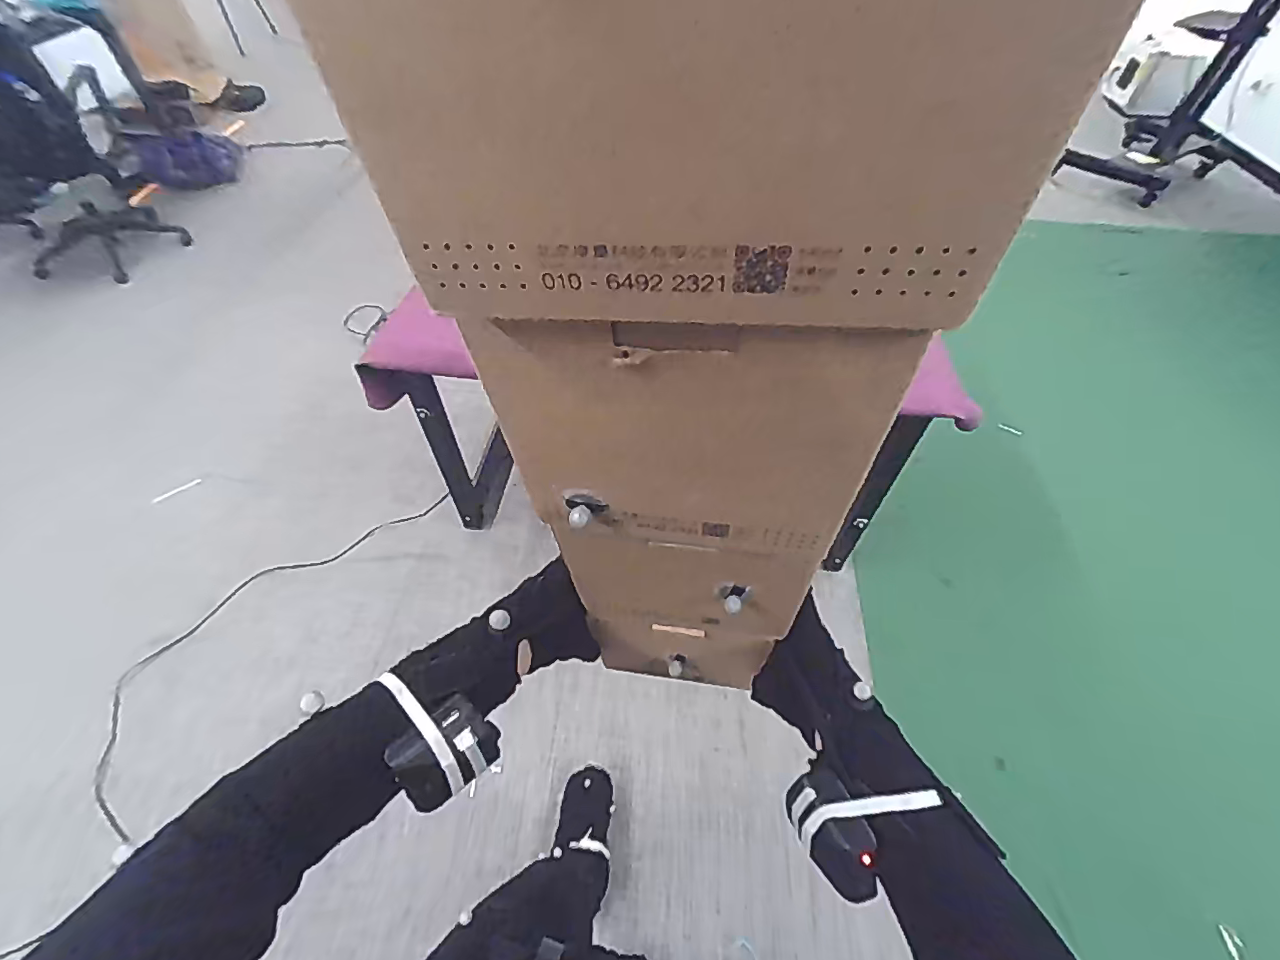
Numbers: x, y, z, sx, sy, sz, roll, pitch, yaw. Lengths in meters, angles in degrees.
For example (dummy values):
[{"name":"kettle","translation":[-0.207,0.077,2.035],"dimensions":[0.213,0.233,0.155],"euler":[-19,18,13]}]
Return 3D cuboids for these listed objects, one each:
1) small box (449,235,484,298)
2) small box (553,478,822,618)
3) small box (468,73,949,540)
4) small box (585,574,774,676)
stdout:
[{"name":"small box","translation":[-0.316,-0.523,1.224],"dimensions":[0.168,0.176,0.179],"euler":[3,53,0]},{"name":"small box","translation":[0.047,-0.009,0.416],"dimensions":[0.168,0.176,0.179],"euler":[6,56,8]},{"name":"small box","translation":[0.037,-0.085,0.290],"dimensions":[0.168,0.176,0.179],"euler":[7,57,8]},{"name":"small box","translation":[0.049,0.093,0.567],"dimensions":[0.168,0.176,0.179],"euler":[4,55,7]}]
